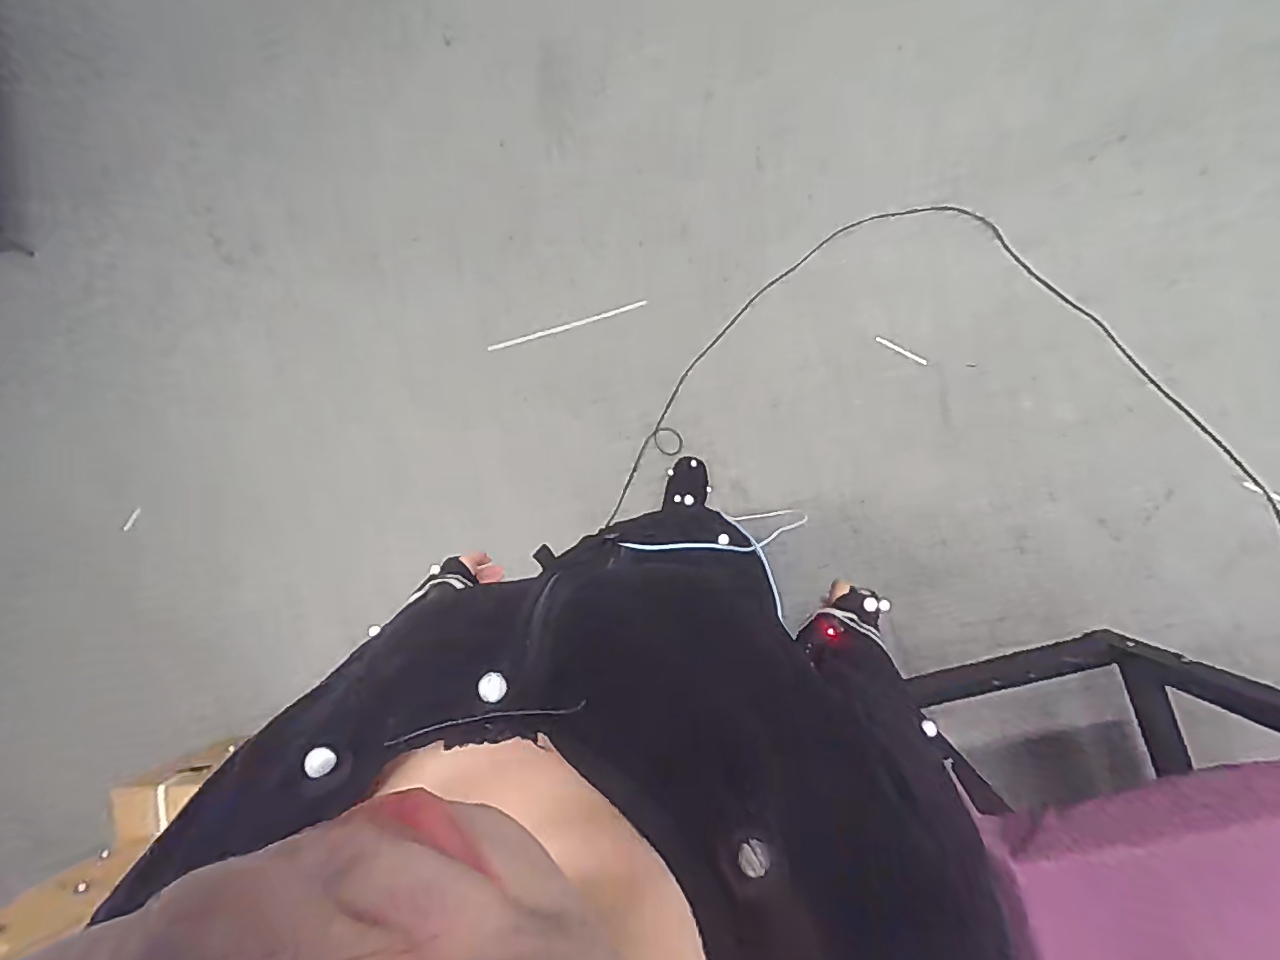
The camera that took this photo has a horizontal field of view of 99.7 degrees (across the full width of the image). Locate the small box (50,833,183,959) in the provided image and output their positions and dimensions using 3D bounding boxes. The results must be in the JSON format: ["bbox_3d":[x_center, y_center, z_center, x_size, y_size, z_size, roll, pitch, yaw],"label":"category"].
[{"bbox_3d":[-1.222,0.966,1.270,0.168,0.176,0.179,-5,88,11],"label":"small box"}]

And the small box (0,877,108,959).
[{"bbox_3d":[-1.248,0.959,1.108,0.168,0.176,0.179,-3,89,11],"label":"small box"}]
